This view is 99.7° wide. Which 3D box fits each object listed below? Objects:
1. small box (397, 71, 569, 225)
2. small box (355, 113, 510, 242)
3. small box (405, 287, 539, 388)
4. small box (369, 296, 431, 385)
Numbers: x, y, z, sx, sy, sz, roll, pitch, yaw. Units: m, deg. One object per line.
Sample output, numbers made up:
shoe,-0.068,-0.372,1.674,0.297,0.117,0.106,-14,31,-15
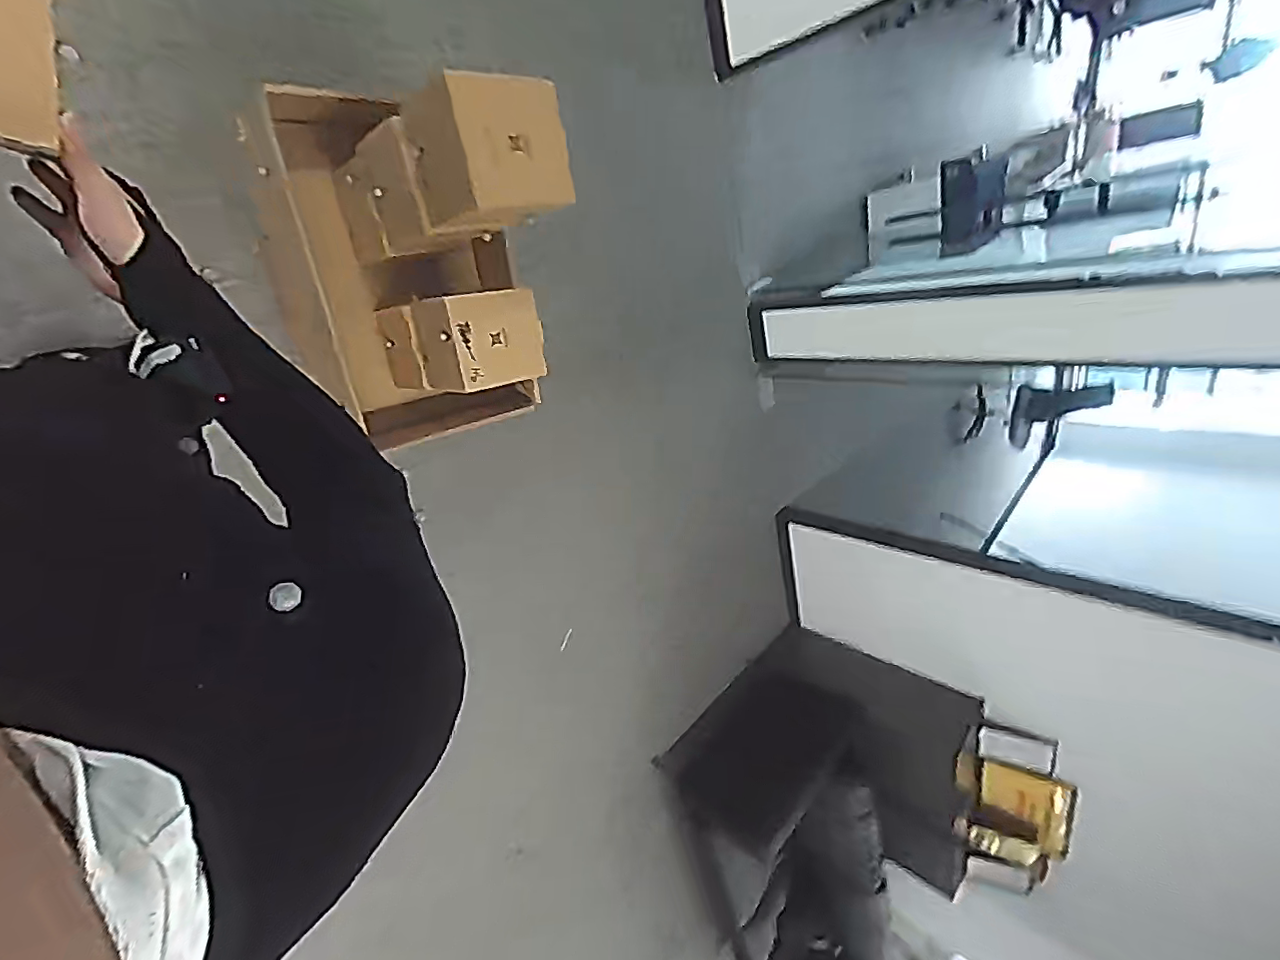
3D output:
small box,-0.239,-0.497,0.832,0.179,0.176,0.168,-27,119,-38
small box,-0.359,-0.519,0.941,0.179,0.176,0.168,-29,120,-37
small box,-0.324,-0.280,1.047,0.179,0.176,0.168,-23,117,-39
small box,-0.444,-0.308,1.156,0.179,0.176,0.168,-25,118,-37
